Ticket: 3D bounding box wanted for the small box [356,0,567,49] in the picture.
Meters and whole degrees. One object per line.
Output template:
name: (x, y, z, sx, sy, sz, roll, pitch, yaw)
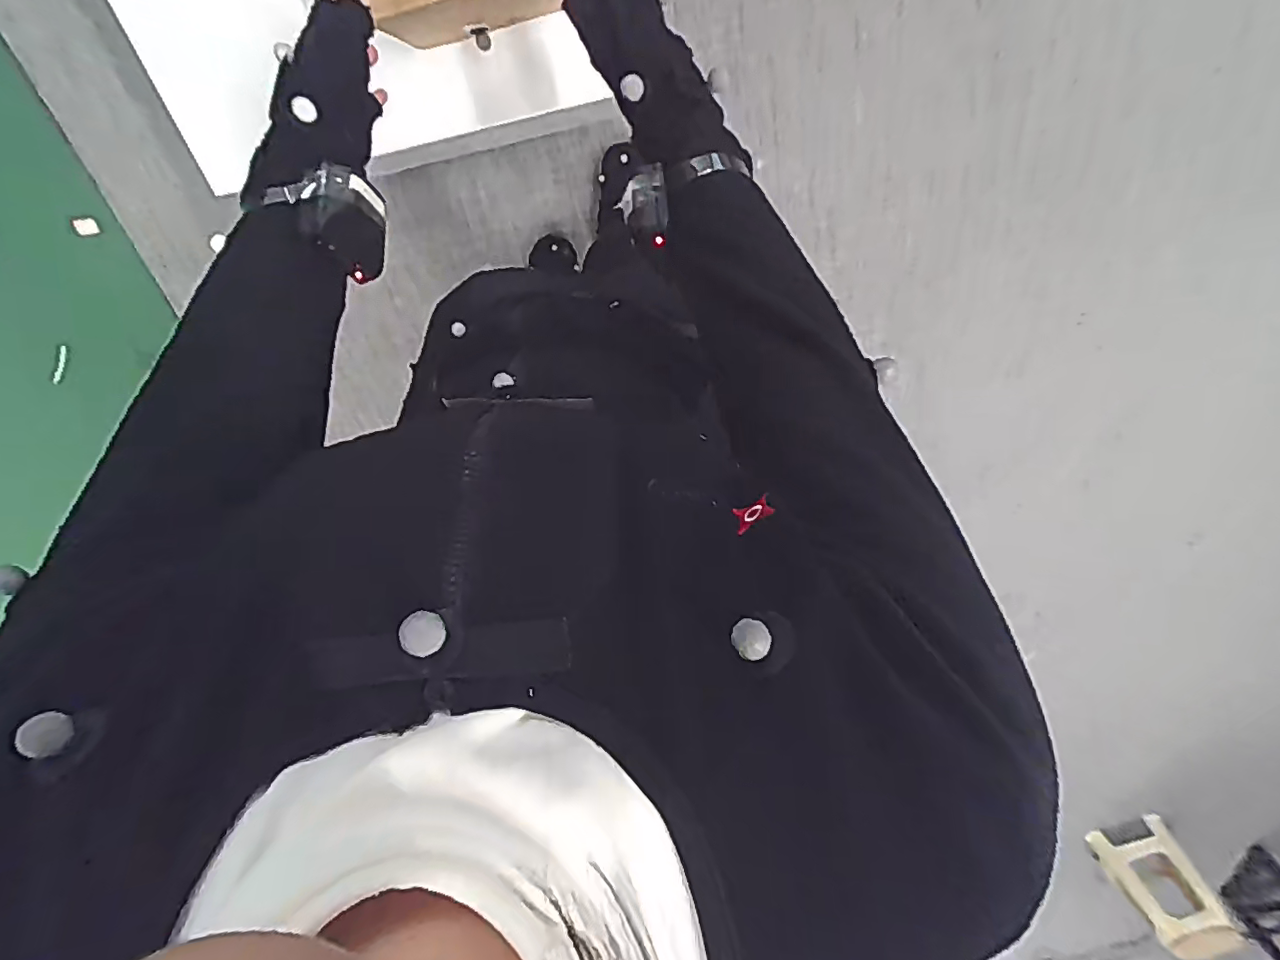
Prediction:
small box: (-0.166, -0.500, 0.453, 0.168, 0.176, 0.179, -12, 123, 7)
